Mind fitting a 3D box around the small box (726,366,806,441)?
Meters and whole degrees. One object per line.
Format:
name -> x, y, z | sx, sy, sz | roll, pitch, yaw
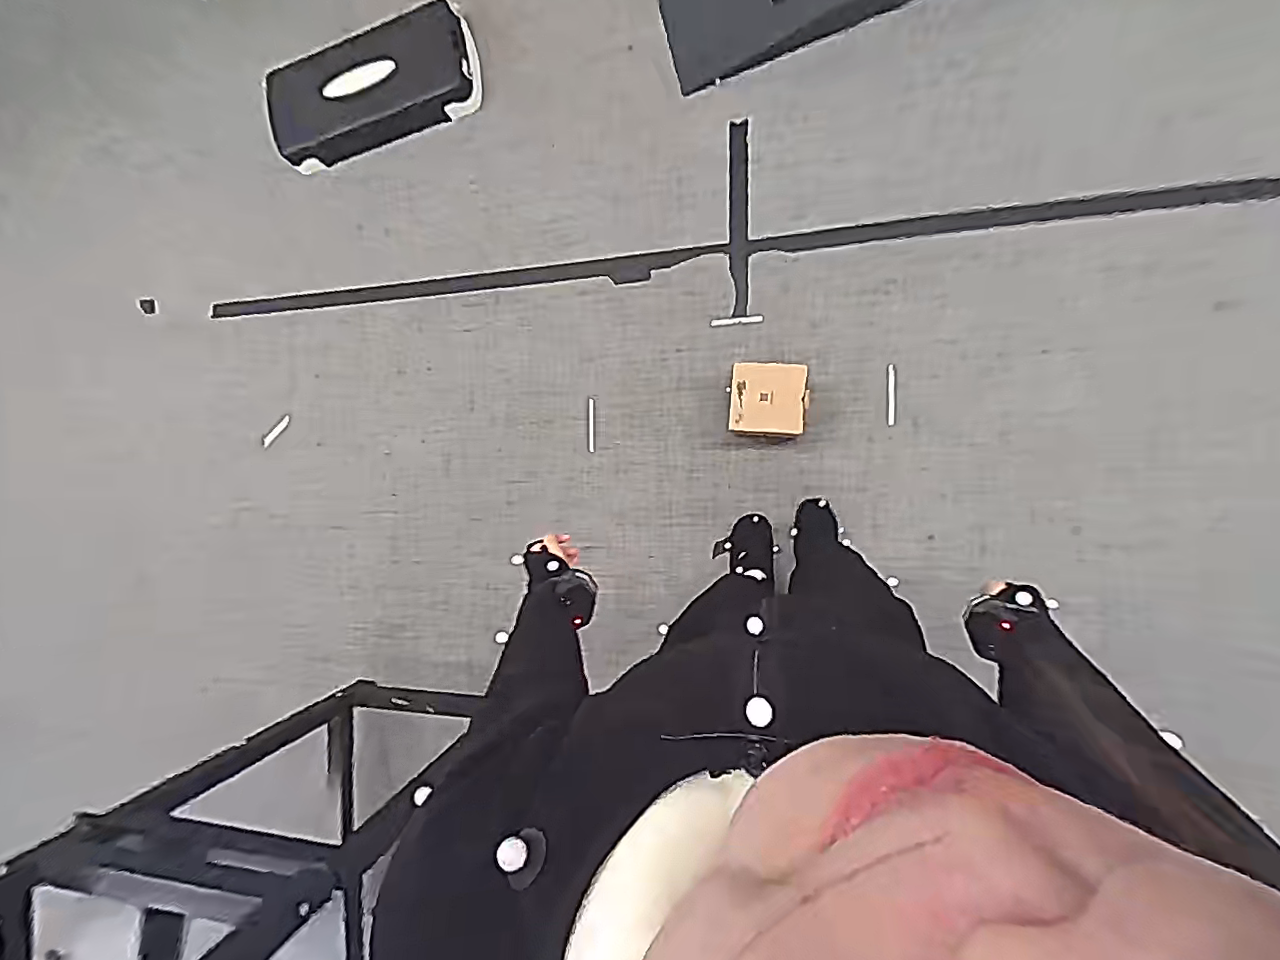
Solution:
small box -> 0.313, -0.187, 1.364 | 0.179, 0.176, 0.168 | 5, 92, 11
